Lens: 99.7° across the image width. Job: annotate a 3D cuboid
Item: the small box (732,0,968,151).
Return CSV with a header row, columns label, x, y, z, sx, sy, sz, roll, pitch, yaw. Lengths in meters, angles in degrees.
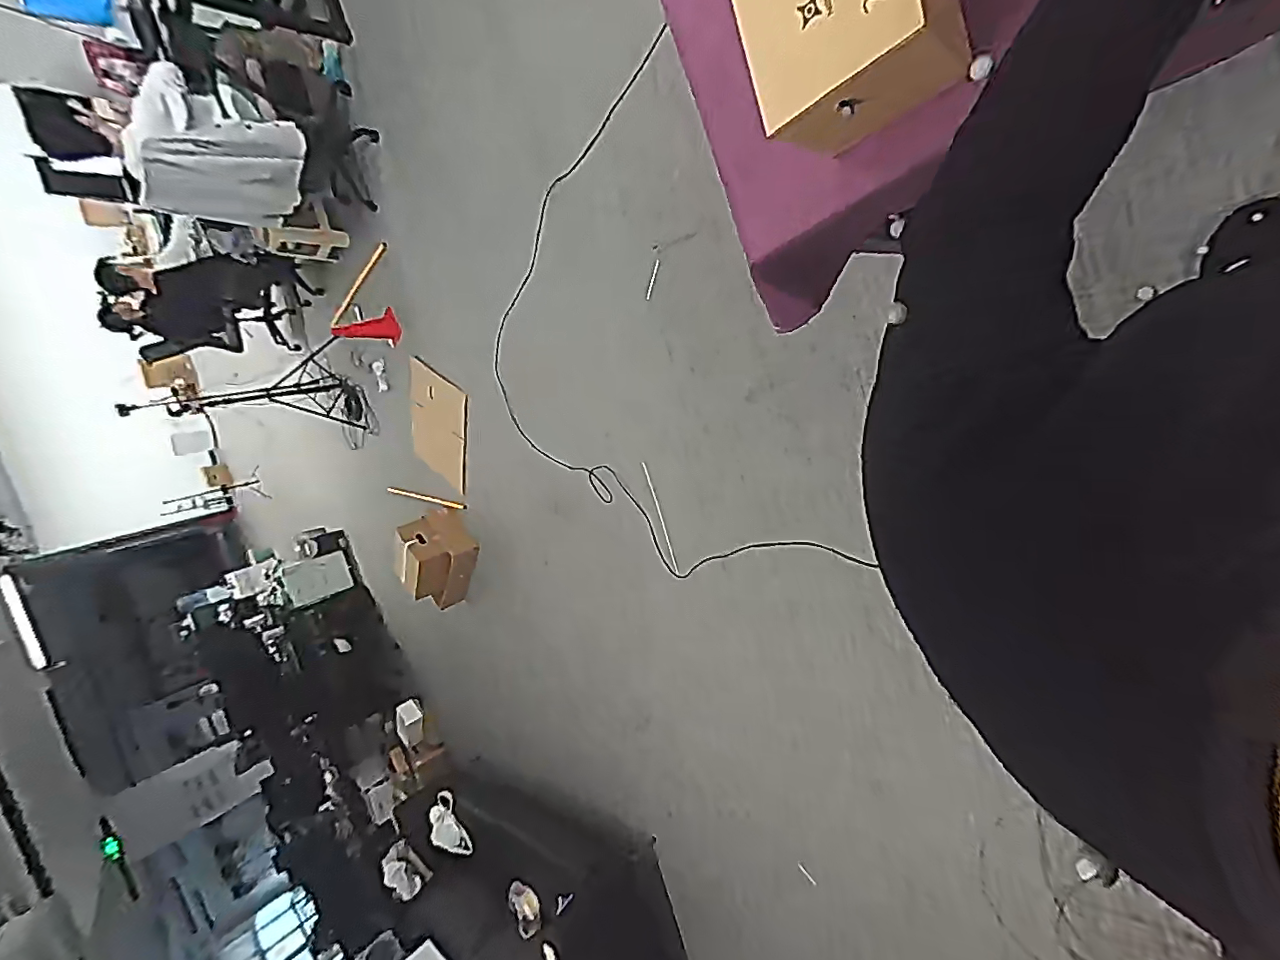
label,x,y,z,sx,sy,sz,roll,pitch,yaw
small box,0.236,-0.505,0.608,0.179,0.176,0.168,-11,98,46
